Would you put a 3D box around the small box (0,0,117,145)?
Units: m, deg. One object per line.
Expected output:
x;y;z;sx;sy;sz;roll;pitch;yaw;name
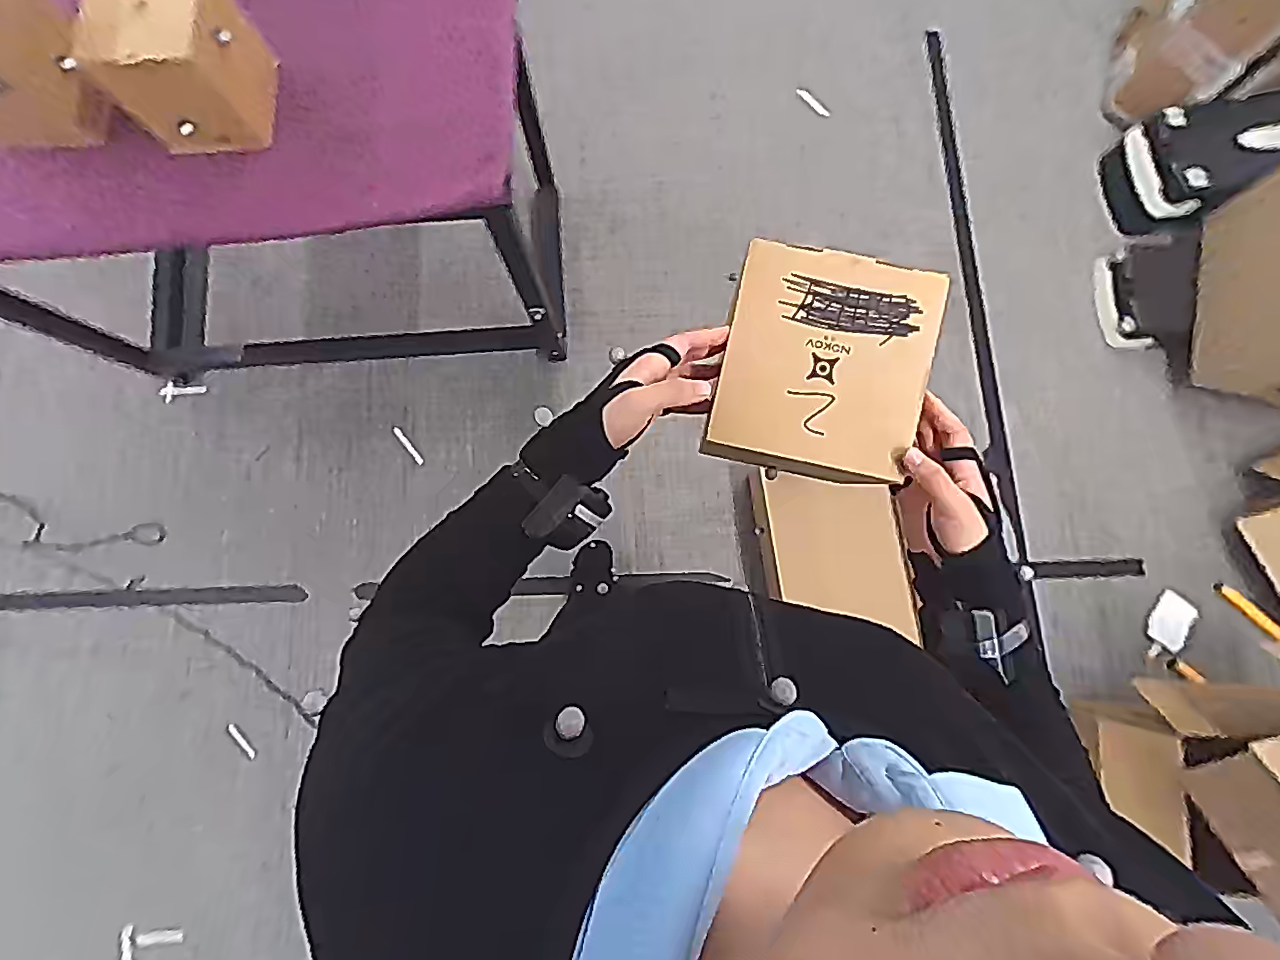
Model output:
-0.979;-0.657;0.845;0.179;0.176;0.168;-2;81;0;small box

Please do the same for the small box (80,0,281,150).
-0.697;-0.654;0.843;0.168;0.176;0.179;-2;81;0;small box
